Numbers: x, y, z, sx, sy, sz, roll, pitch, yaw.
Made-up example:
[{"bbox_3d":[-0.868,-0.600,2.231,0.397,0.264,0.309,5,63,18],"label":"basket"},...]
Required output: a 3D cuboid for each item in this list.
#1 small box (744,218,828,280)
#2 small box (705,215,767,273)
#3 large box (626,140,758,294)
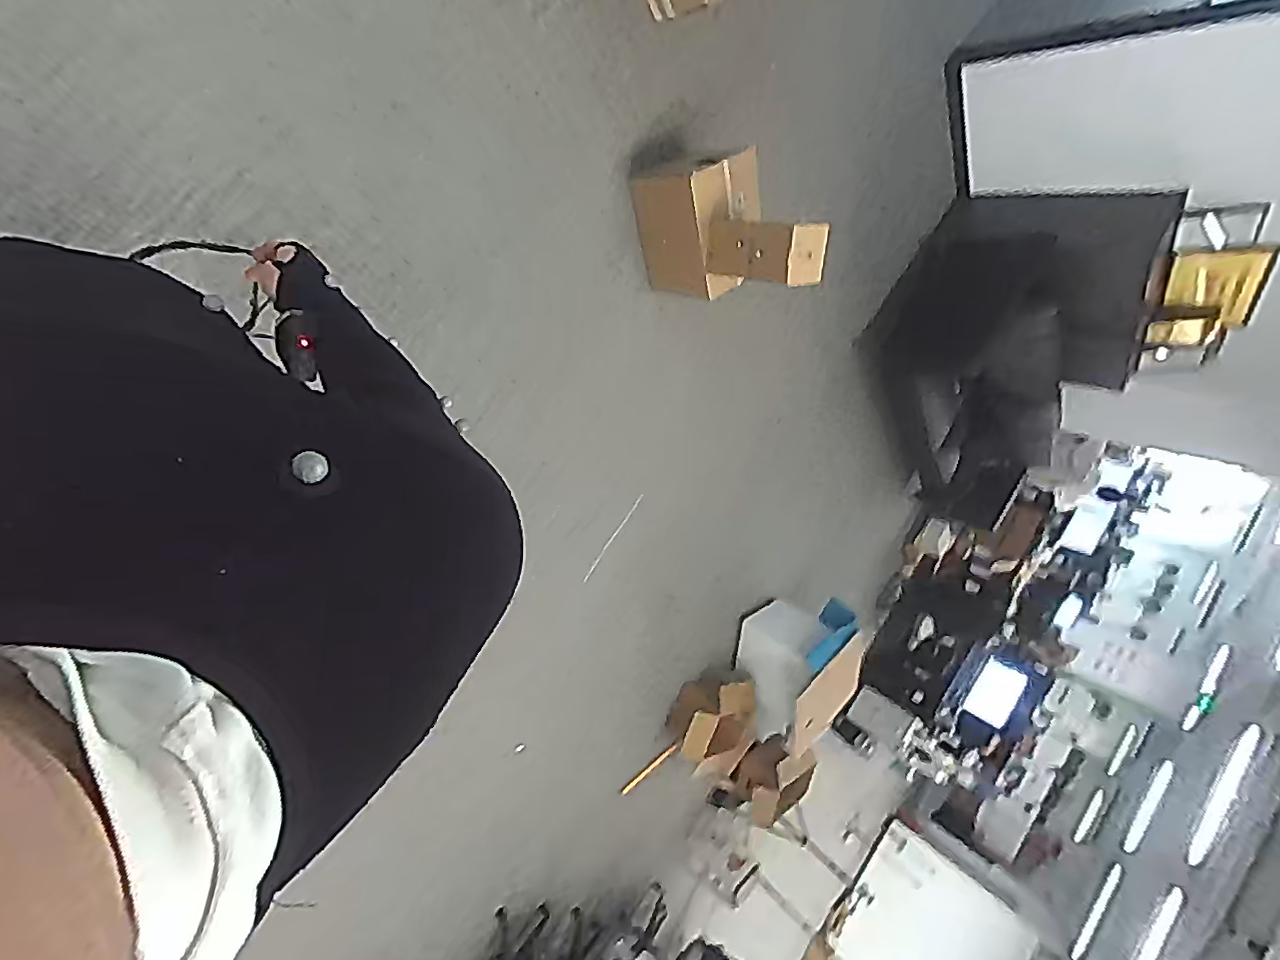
[{"bbox_3d":[0.446,-0.714,1.665,0.179,0.176,0.168,-19,123,-35],"label":"small box"},{"bbox_3d":[0.338,-0.776,1.774,0.179,0.176,0.168,-20,123,-37],"label":"small box"},{"bbox_3d":[0.201,-0.929,1.926,0.320,0.320,0.408,-38,132,-25],"label":"large box"}]
